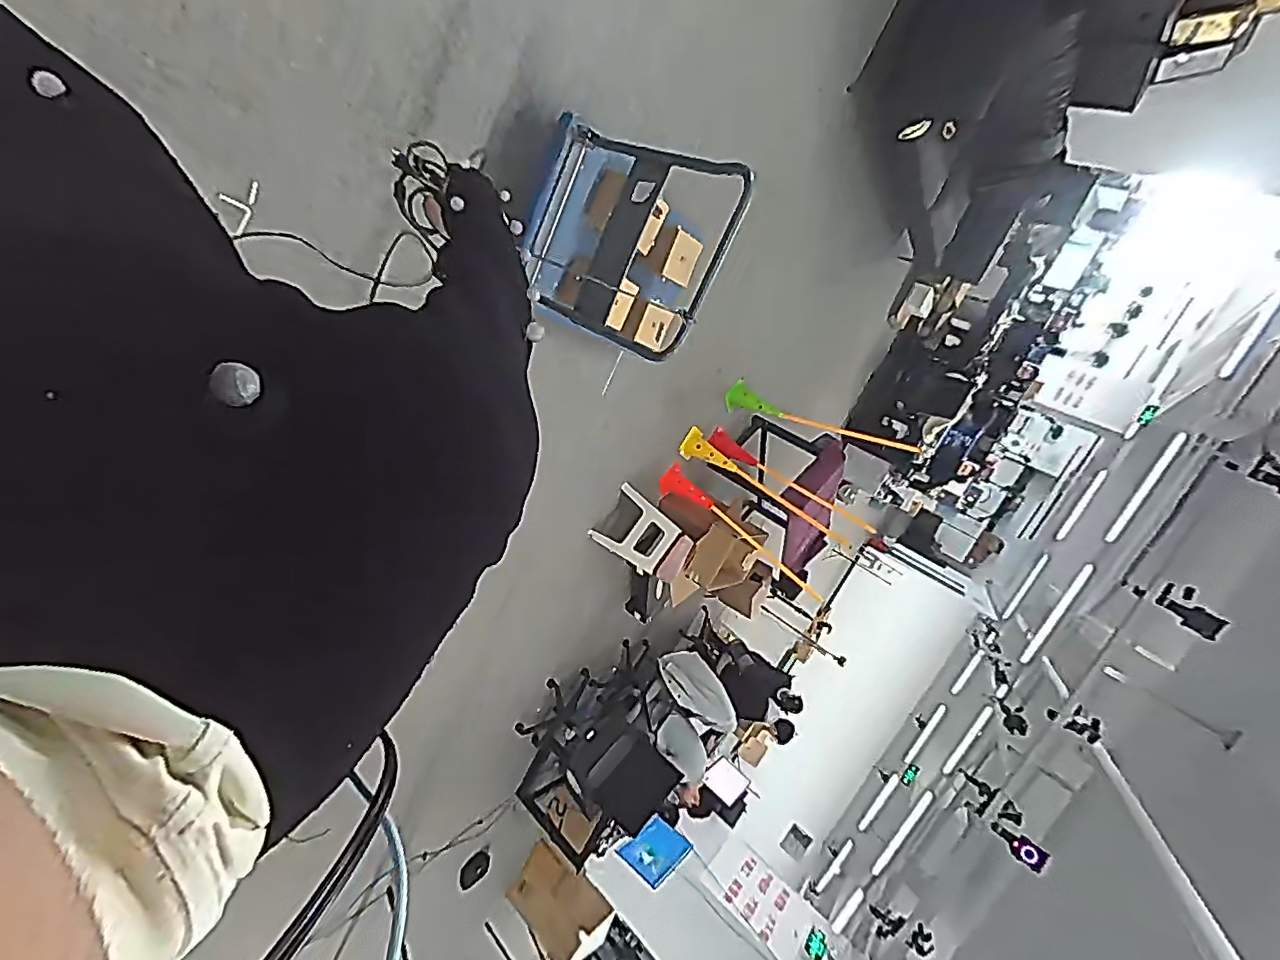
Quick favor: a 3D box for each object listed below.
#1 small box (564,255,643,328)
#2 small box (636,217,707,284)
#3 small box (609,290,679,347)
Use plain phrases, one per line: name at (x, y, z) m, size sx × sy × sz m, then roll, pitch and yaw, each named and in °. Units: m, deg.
small box at (-0.128, -0.654, 1.869) m, size 0.179 × 0.176 × 0.168 m, roll 6°, pitch 113°, yaw -57°
small box at (0.115, -0.862, 2.023) m, size 0.179 × 0.176 × 0.168 m, roll -1°, pitch 120°, yaw -55°
small box at (0.013, -0.635, 2.090) m, size 0.179 × 0.176 × 0.168 m, roll 2°, pitch 116°, yaw -55°
